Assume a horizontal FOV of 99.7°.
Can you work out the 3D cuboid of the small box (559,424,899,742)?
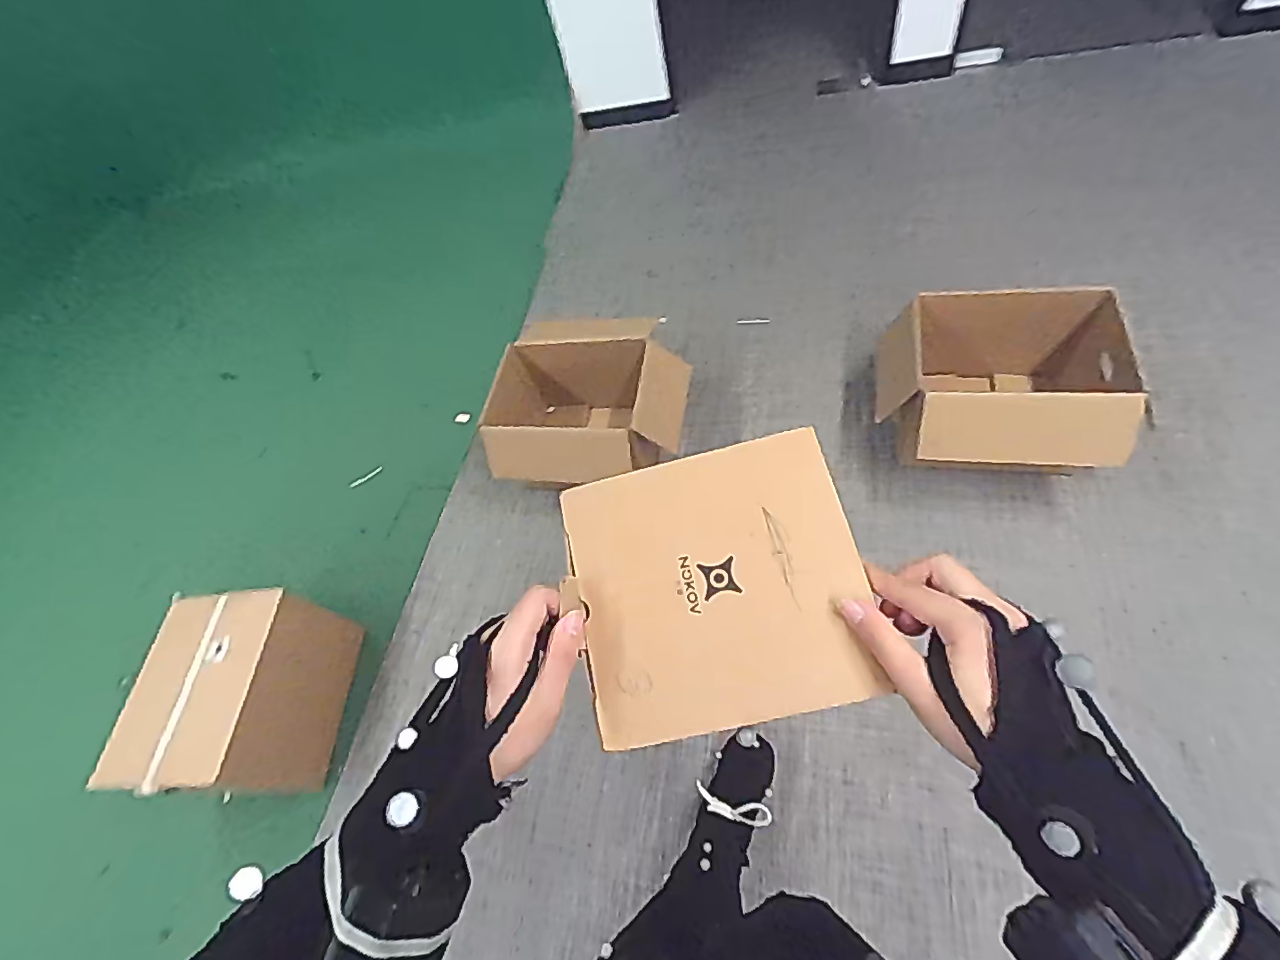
[{"bbox_3d":[0.056,0.084,0.401,0.179,0.176,0.168,-14,70,4],"label":"small box"}]
